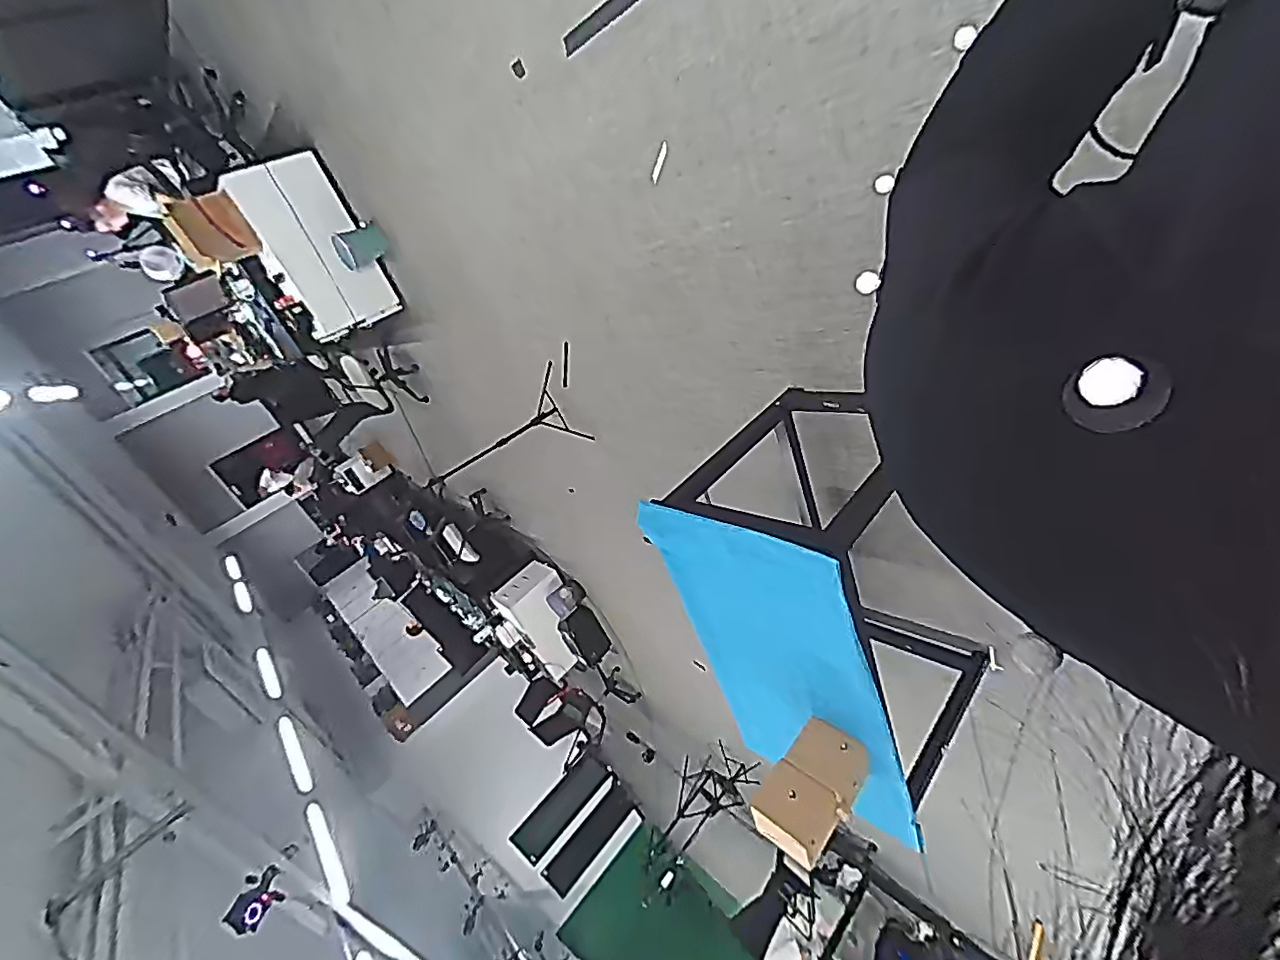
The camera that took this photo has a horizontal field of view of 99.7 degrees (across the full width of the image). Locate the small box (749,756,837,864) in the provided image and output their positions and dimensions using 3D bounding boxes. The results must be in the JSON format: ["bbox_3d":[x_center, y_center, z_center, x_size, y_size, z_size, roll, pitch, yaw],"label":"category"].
[{"bbox_3d":[0.440,0.946,1.547,0.179,0.176,0.168,18,138,41],"label":"small box"}]

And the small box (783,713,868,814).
[{"bbox_3d":[0.555,0.849,1.615,0.179,0.176,0.168,16,136,45],"label":"small box"}]
